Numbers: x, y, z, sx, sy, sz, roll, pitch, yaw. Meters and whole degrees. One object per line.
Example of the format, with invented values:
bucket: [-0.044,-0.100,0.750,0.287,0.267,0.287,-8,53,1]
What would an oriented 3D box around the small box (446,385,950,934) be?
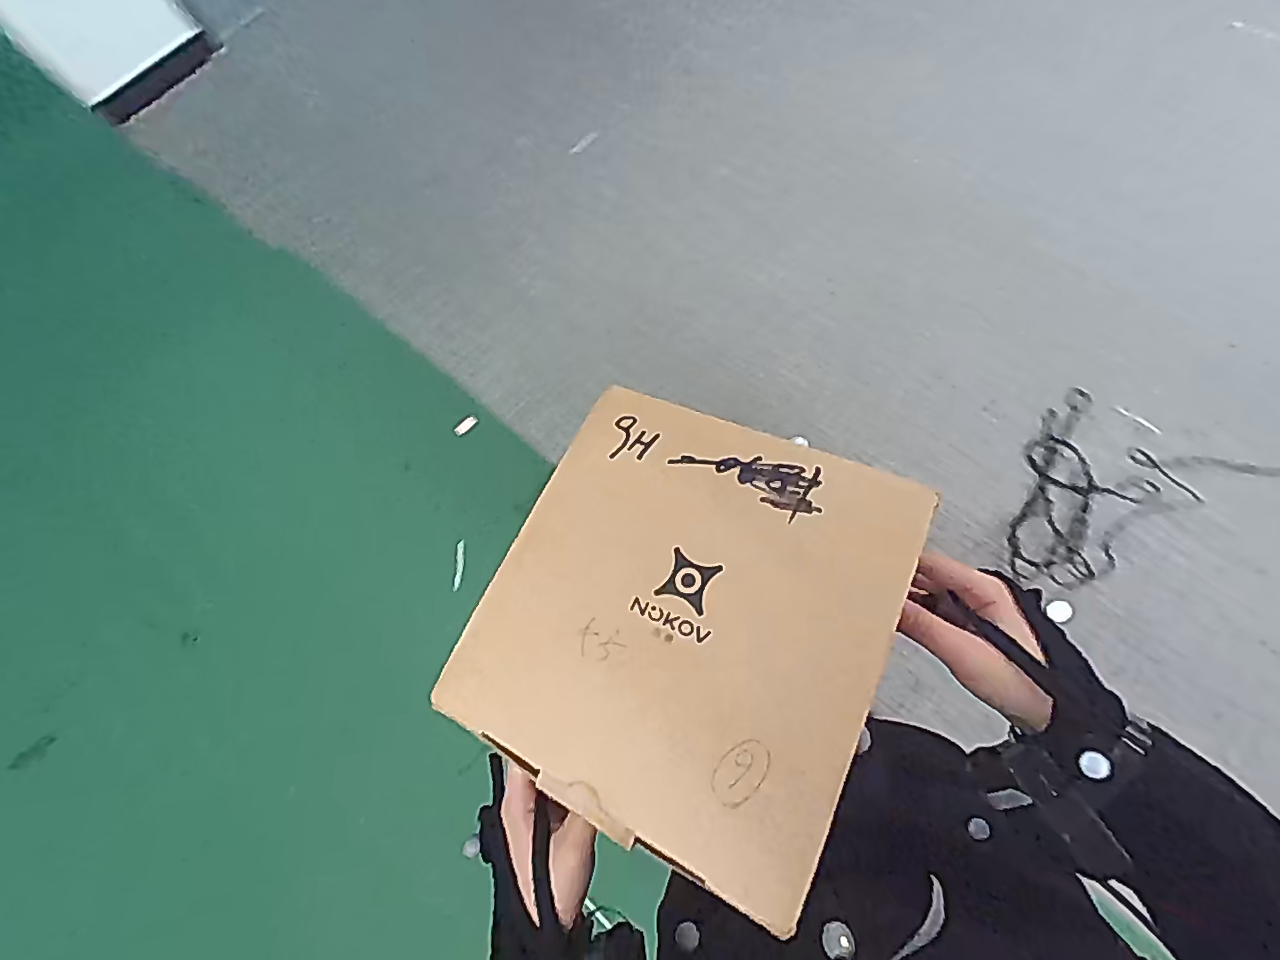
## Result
small box: [0.039,0.082,0.302,0.168,0.176,0.179,22,74,22]
